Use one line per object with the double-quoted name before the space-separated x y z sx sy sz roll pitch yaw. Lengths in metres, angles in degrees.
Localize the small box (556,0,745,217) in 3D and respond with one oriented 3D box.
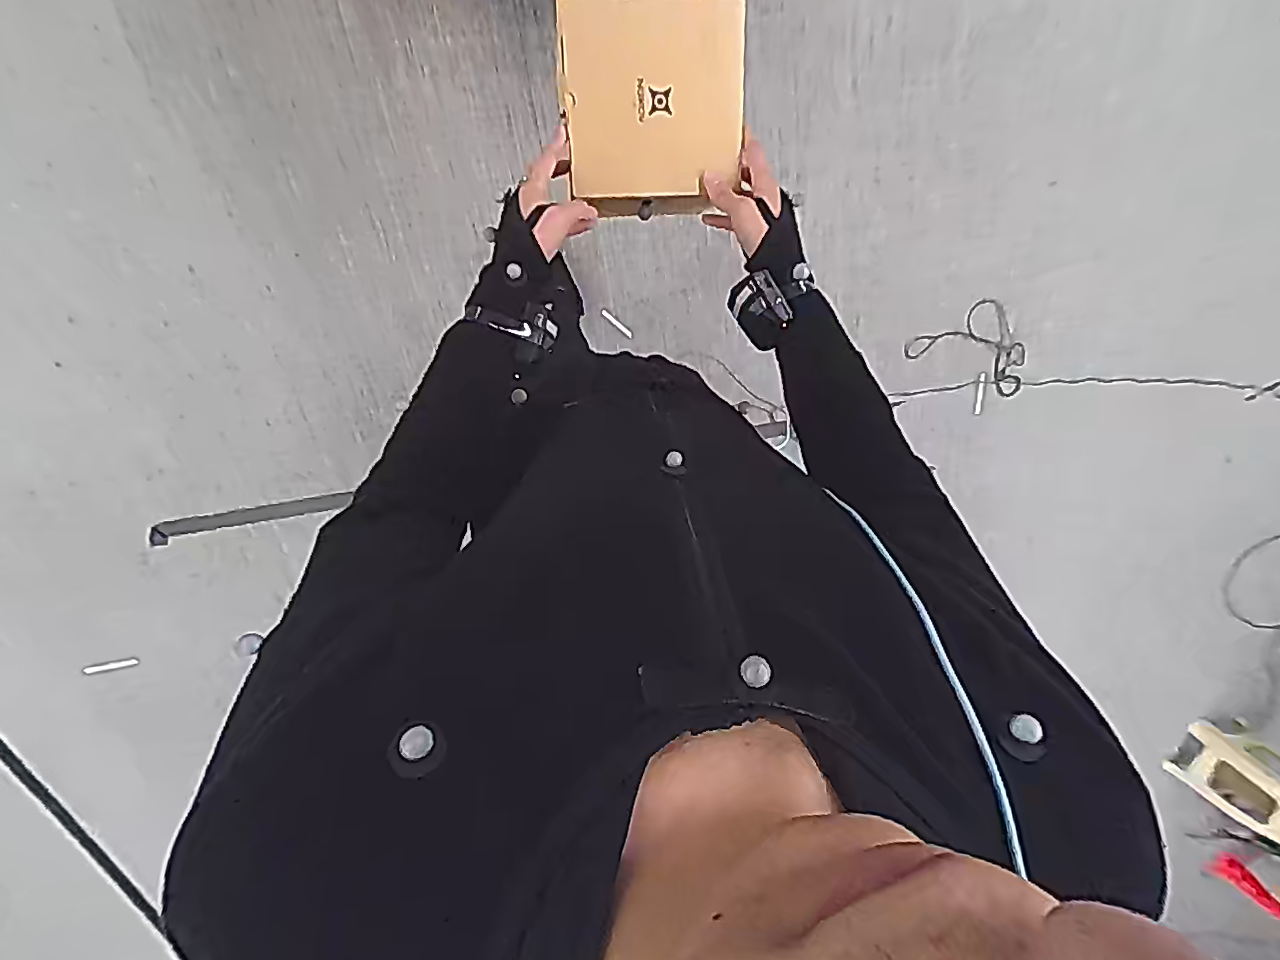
"small box" 0.003 -0.386 0.587 0.179 0.176 0.168 -4 111 -5
